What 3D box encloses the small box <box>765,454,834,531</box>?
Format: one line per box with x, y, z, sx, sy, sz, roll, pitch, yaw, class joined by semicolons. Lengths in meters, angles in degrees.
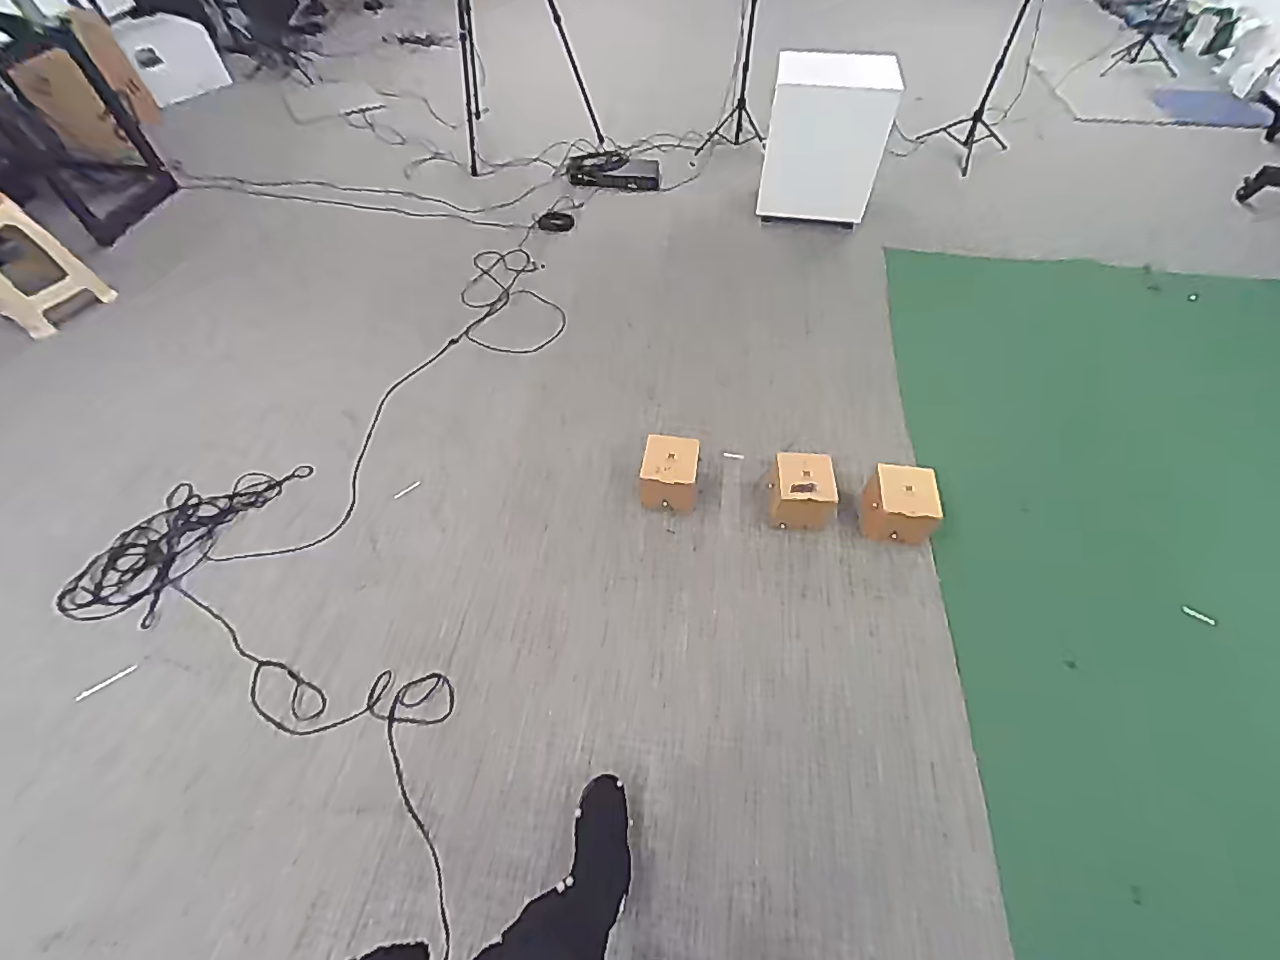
0.486;0.041;1.669;0.168;0.176;0.179;3;53;2;small box

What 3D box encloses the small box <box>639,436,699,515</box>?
0.090;-0.014;1.708;0.168;0.176;0.179;7;55;7;small box

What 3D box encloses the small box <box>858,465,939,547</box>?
0.775;0.080;1.641;0.168;0.176;0.179;6;54;5;small box
